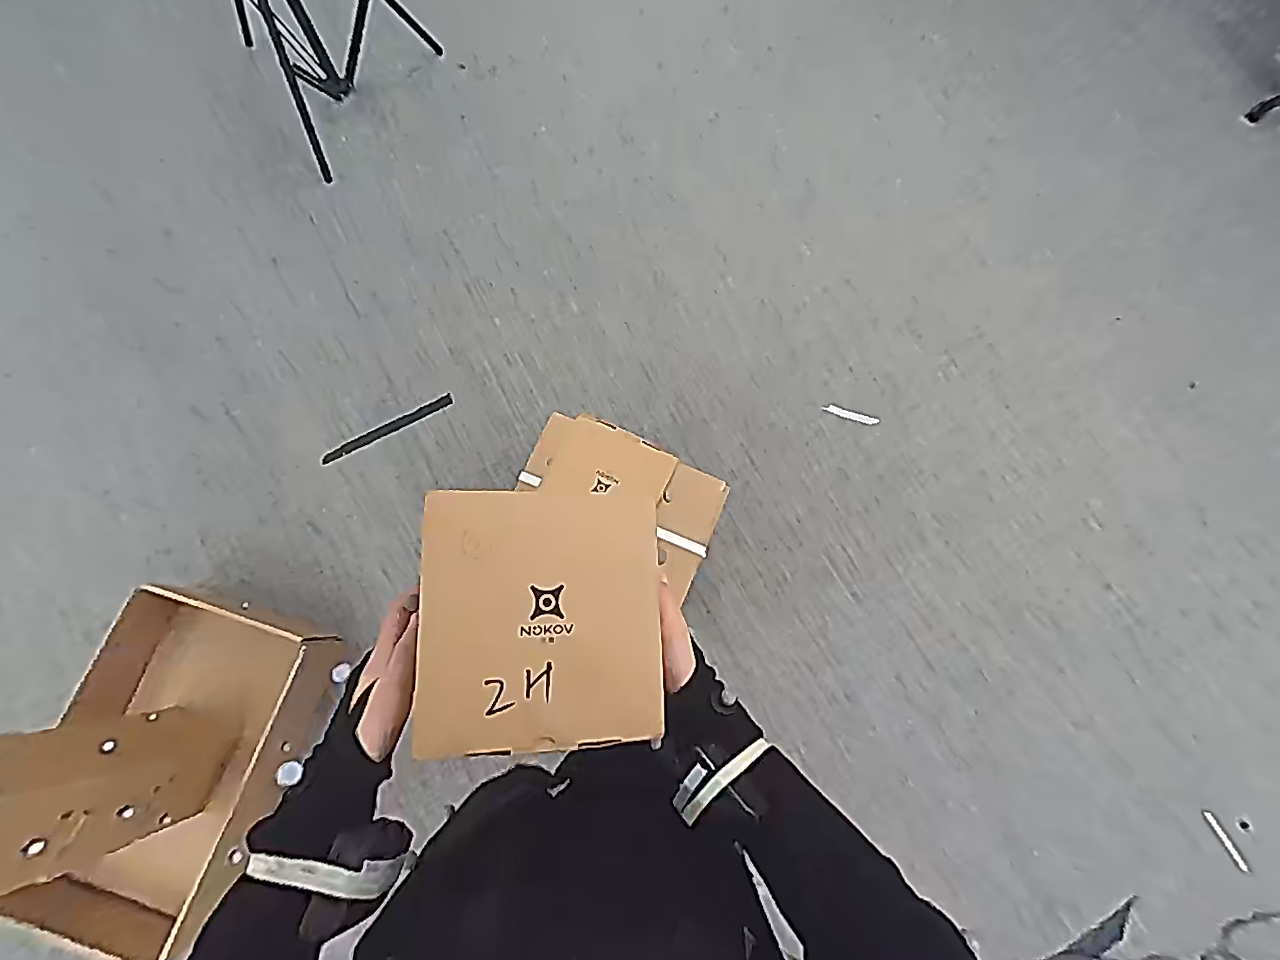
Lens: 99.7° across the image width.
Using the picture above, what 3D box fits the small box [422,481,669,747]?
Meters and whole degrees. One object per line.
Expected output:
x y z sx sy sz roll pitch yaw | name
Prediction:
-0.079 0.106 0.453 0.168 0.176 0.179 1 77 -13 | small box

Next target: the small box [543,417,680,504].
-0.055 0.033 0.852 0.168 0.176 0.179 25 76 4 | small box

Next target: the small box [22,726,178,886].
-0.978 0.551 0.942 0.179 0.176 0.168 22 75 3 | small box

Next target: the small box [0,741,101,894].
-0.977 0.499 0.787 0.179 0.176 0.168 21 75 3 | small box
